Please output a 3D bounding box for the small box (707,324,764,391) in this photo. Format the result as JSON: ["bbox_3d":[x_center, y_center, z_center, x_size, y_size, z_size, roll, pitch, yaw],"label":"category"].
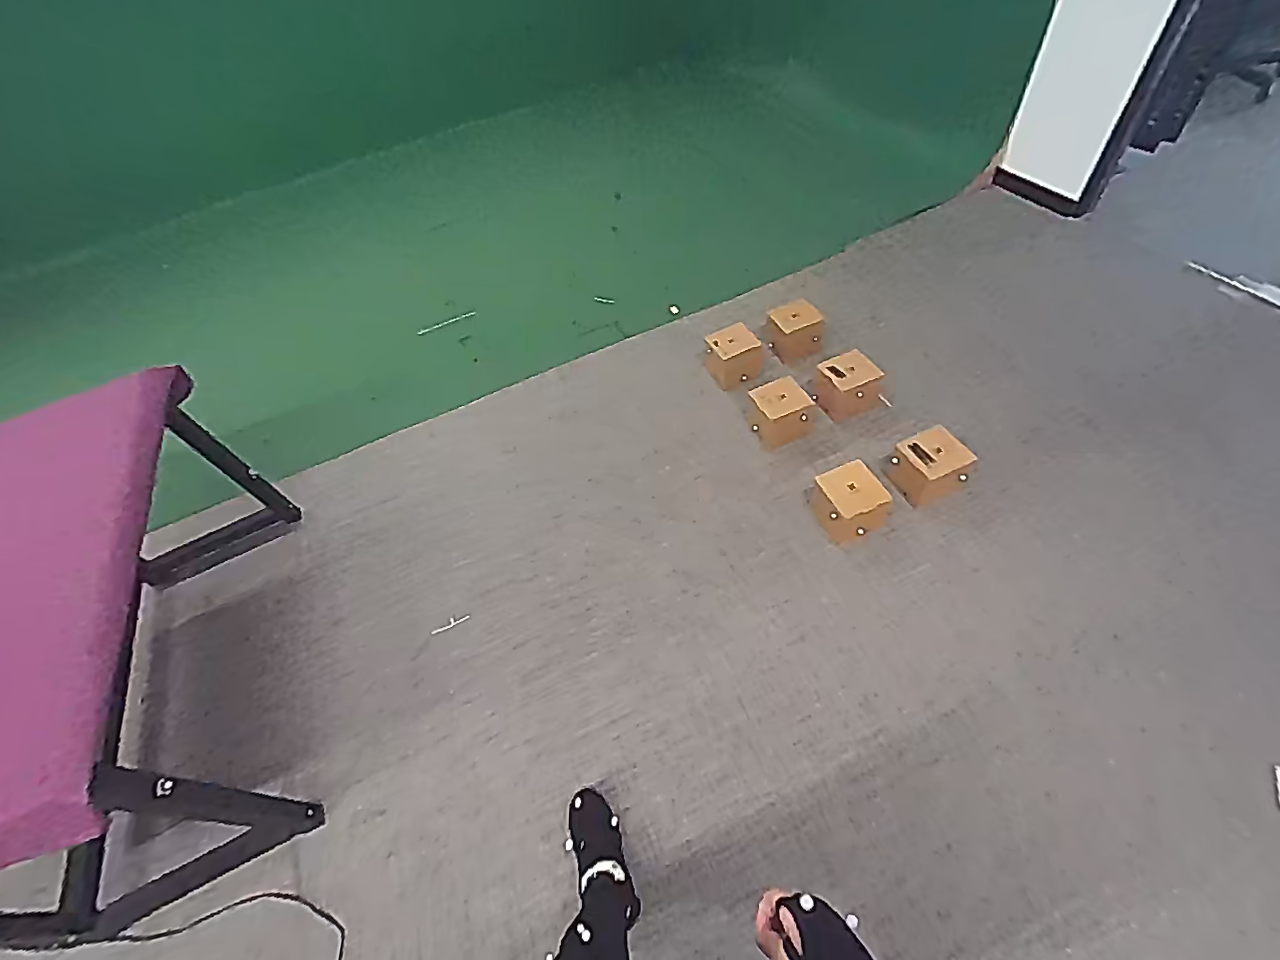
[{"bbox_3d":[0.383,-0.494,2.188,0.179,0.176,0.168,-23,52,-8],"label":"small box"}]

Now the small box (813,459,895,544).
[{"bbox_3d":[0.667,0.072,1.711,0.168,0.176,0.179,-23,53,-6],"label":"small box"}]

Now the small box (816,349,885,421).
[{"bbox_3d":[0.770,-0.348,2.001,0.179,0.176,0.168,-22,53,-6],"label":"small box"}]

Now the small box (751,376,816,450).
[{"bbox_3d":[0.516,-0.241,1.972,0.179,0.176,0.168,-23,52,-6],"label":"small box"}]
